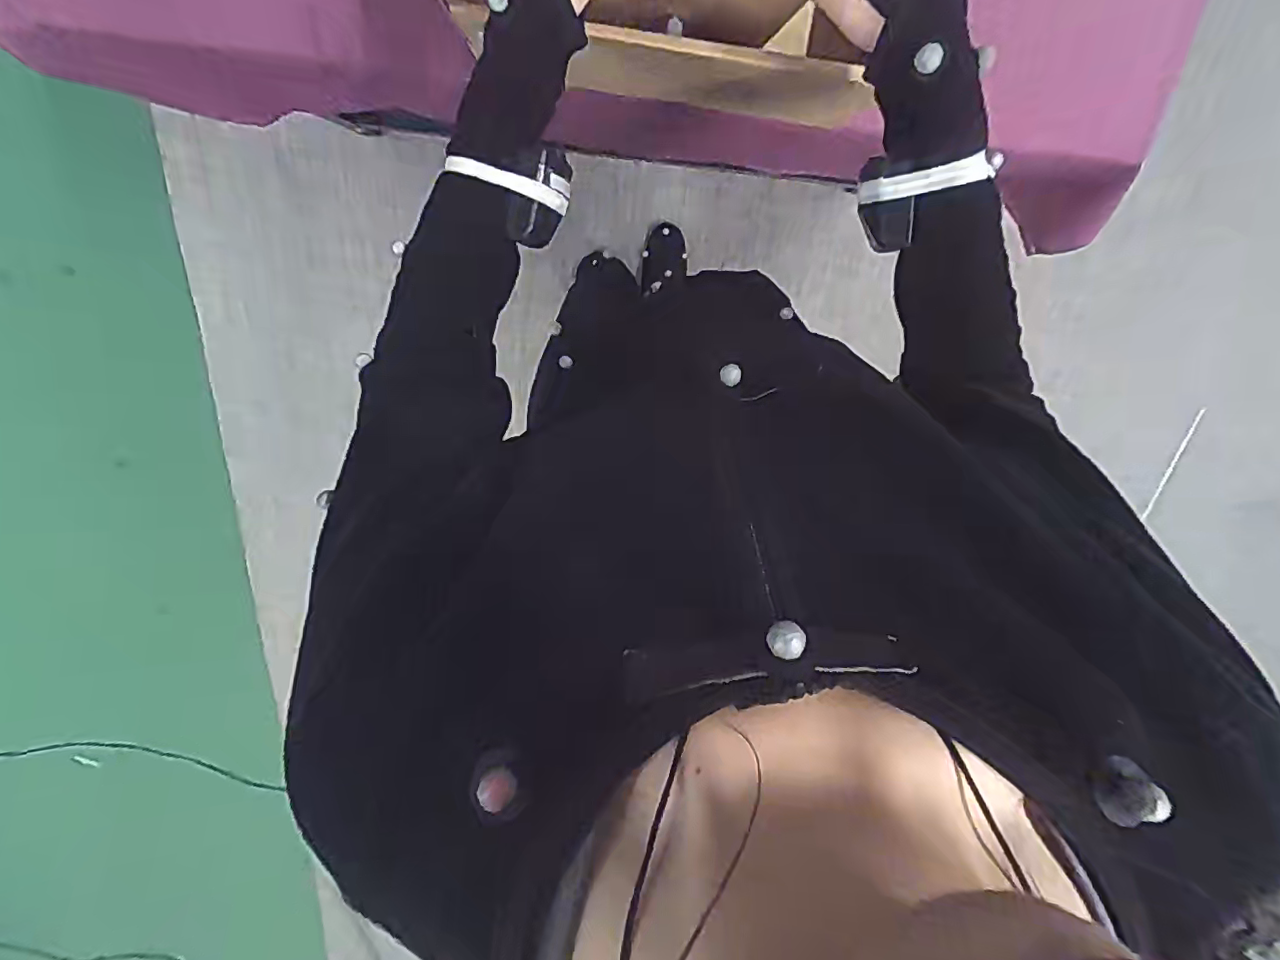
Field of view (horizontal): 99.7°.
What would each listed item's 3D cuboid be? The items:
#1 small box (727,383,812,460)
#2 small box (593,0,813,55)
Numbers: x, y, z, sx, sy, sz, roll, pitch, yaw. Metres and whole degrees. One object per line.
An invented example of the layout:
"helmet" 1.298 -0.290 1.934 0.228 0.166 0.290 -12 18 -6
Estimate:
"small box" 0.335 -0.158 1.434 0.179 0.176 0.168 -1 113 -3
"small box" 0.051 -0.457 0.401 0.168 0.176 0.179 7 117 -7
